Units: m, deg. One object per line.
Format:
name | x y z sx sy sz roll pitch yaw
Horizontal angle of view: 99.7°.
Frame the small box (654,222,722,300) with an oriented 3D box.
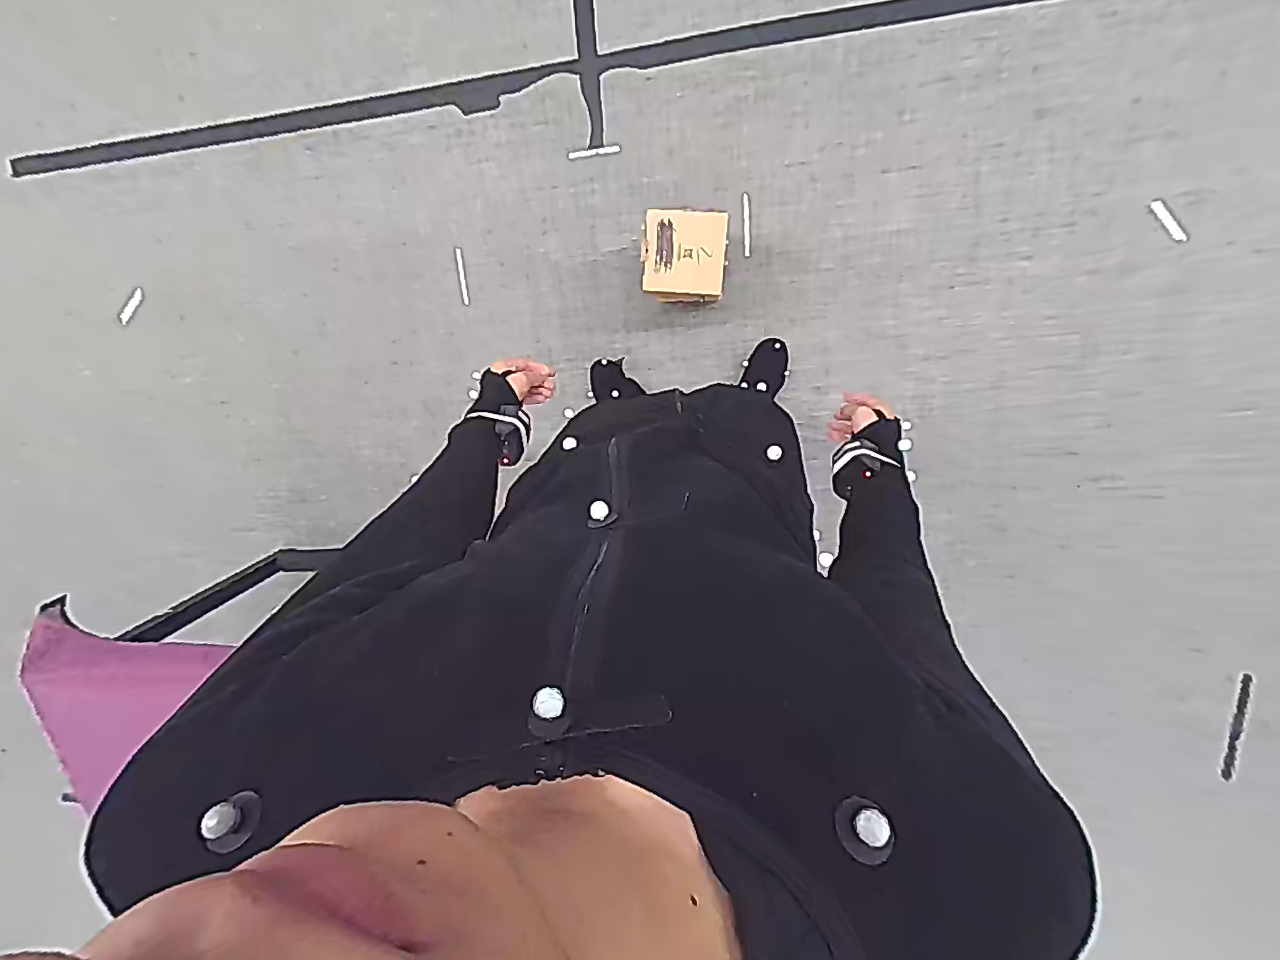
small box | 0.126 -0.556 1.392 0.168 0.176 0.179 1 106 6
